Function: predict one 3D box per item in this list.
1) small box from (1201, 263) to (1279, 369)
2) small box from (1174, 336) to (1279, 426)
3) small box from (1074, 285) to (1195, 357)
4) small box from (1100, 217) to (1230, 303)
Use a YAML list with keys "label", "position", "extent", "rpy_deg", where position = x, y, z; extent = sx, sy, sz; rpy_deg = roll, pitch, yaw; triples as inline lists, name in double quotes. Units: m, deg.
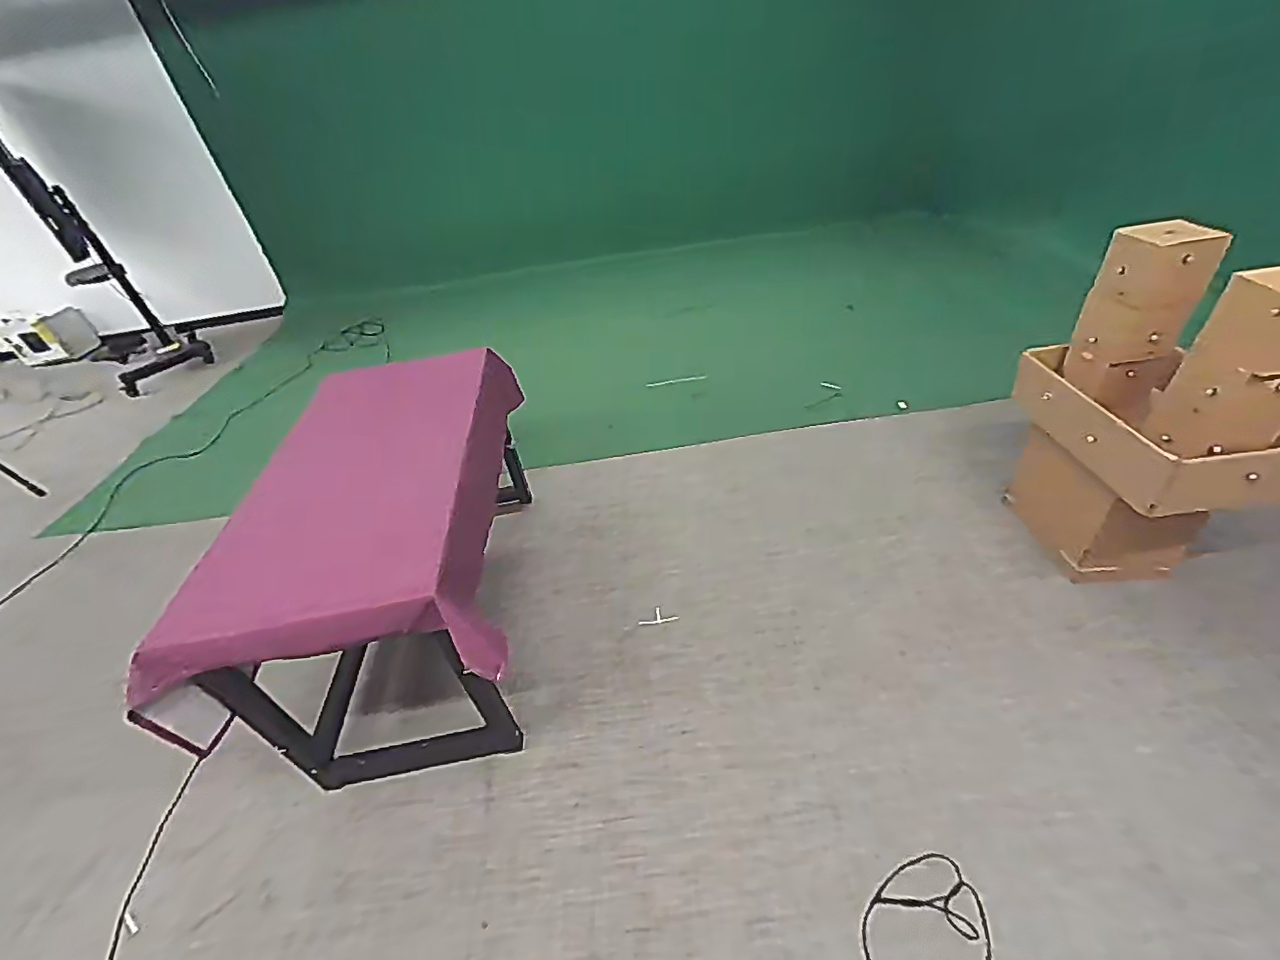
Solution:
- label: "small box"
  position: [1.409, -0.362, 1.180]
  extent: [0.168, 0.176, 0.179]
  rpy_deg: [-8, 40, 4]
- label: "small box"
  position: [1.435, -0.240, 1.284]
  extent: [0.179, 0.176, 0.168]
  rpy_deg: [-4, 40, 7]
- label: "small box"
  position: [1.425, -0.467, 1.572]
  extent: [0.168, 0.176, 0.179]
  rpy_deg: [-9, 39, 2]
- label: "small box"
  position: [1.404, -0.593, 1.467]
  extent: [0.179, 0.176, 0.168]
  rpy_deg: [-8, 38, 3]
